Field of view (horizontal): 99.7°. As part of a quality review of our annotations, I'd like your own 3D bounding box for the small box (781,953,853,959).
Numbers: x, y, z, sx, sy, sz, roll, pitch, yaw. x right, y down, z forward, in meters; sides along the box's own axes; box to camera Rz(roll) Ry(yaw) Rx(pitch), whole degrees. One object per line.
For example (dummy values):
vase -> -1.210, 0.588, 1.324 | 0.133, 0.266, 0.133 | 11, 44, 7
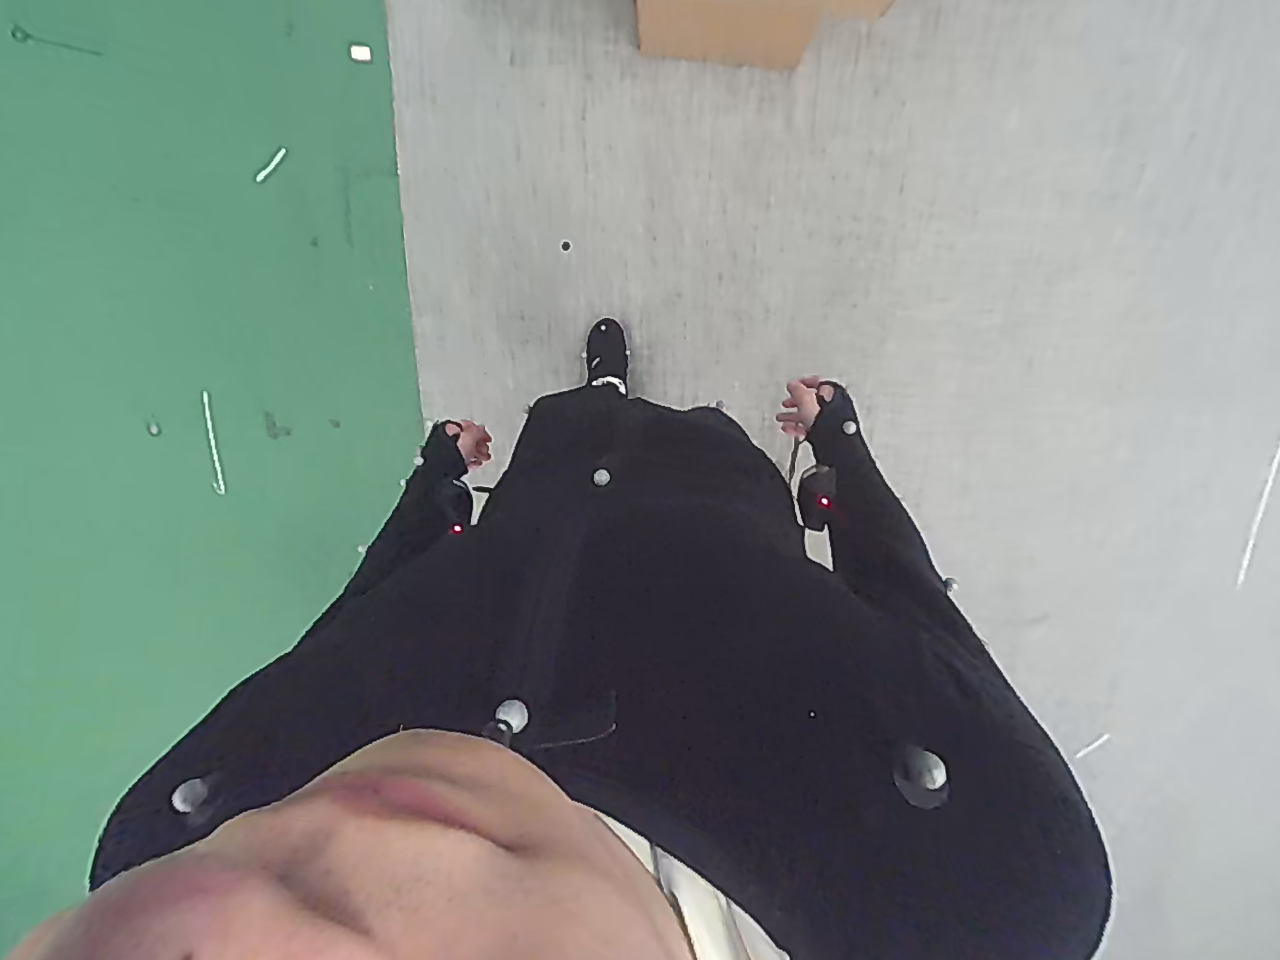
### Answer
small box -> 0.371, 1.094, 1.070 | 0.168, 0.176, 0.179 | 1, 104, 0
